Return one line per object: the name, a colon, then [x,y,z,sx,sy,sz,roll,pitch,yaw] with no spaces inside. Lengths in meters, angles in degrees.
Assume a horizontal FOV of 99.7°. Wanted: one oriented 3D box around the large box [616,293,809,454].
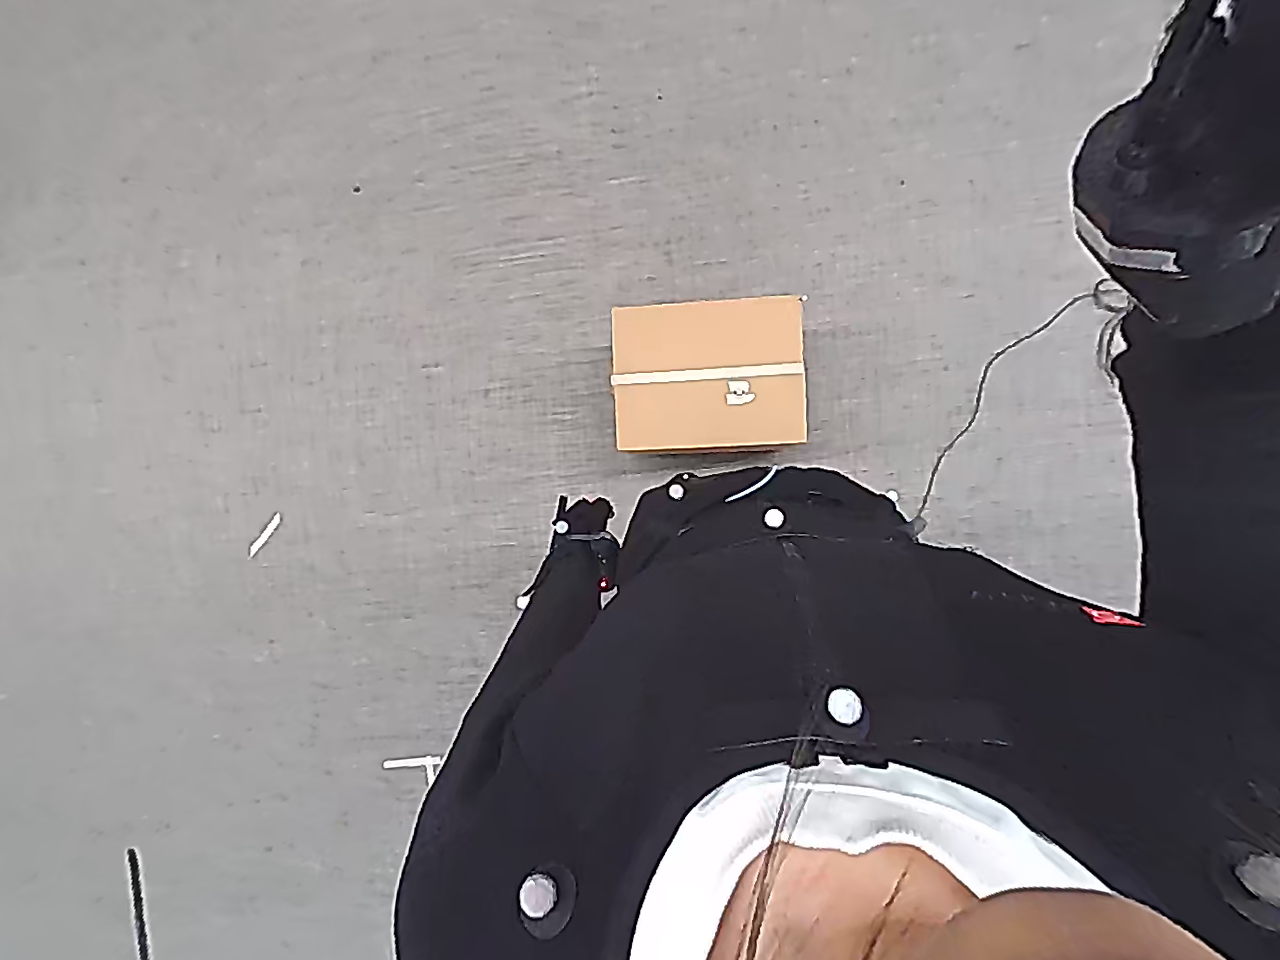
large box: [0.166,-0.233,1.304,0.408,0.320,0.320,-2,91,6]
